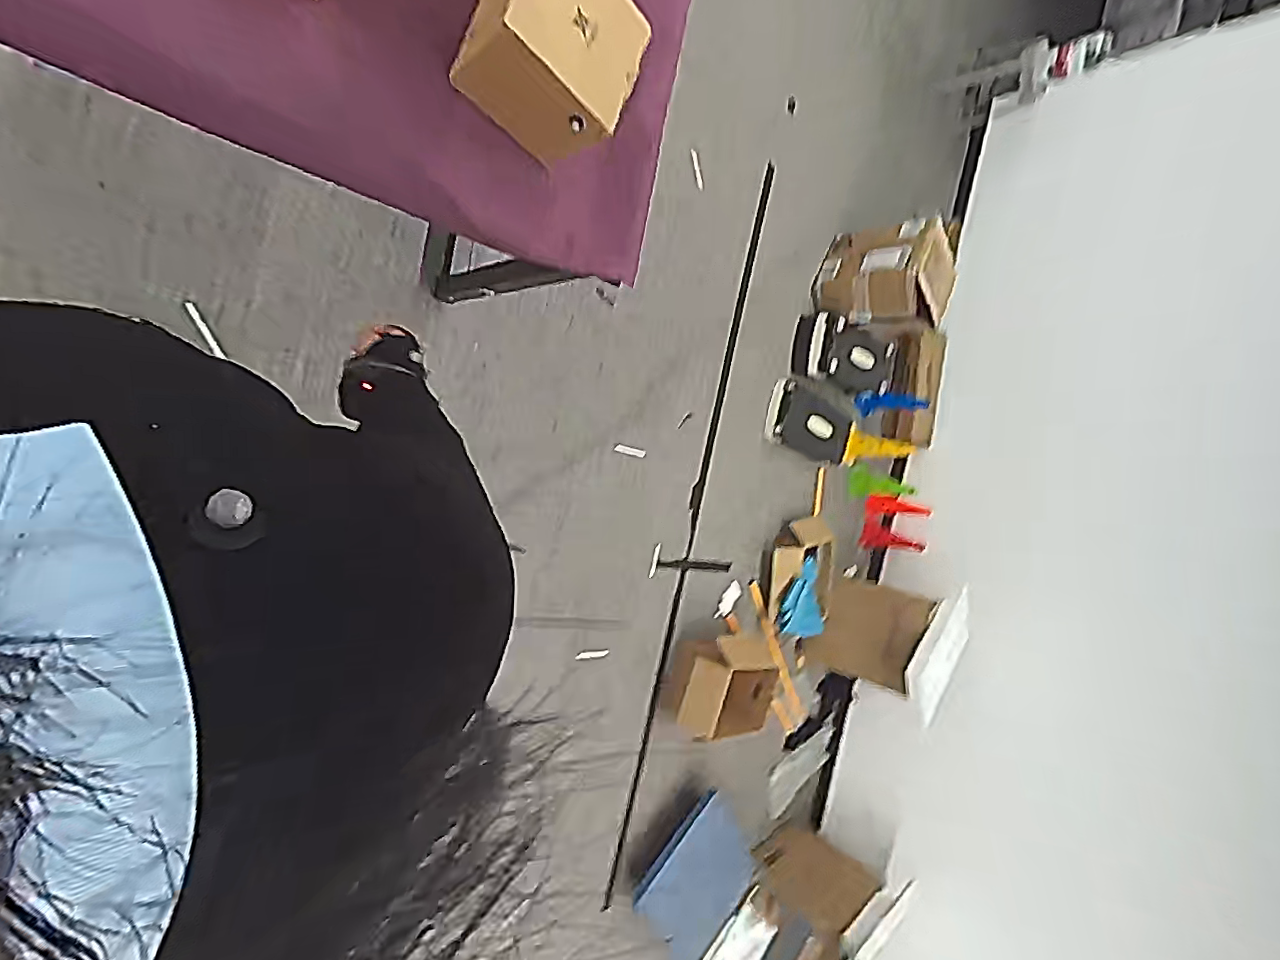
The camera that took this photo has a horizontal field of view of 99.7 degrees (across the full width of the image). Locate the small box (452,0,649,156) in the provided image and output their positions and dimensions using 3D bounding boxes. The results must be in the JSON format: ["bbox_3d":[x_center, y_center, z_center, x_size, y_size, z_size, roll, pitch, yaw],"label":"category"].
[{"bbox_3d":[-0.124,-0.578,0.729,0.179,0.176,0.168,24,83,-43],"label":"small box"}]
